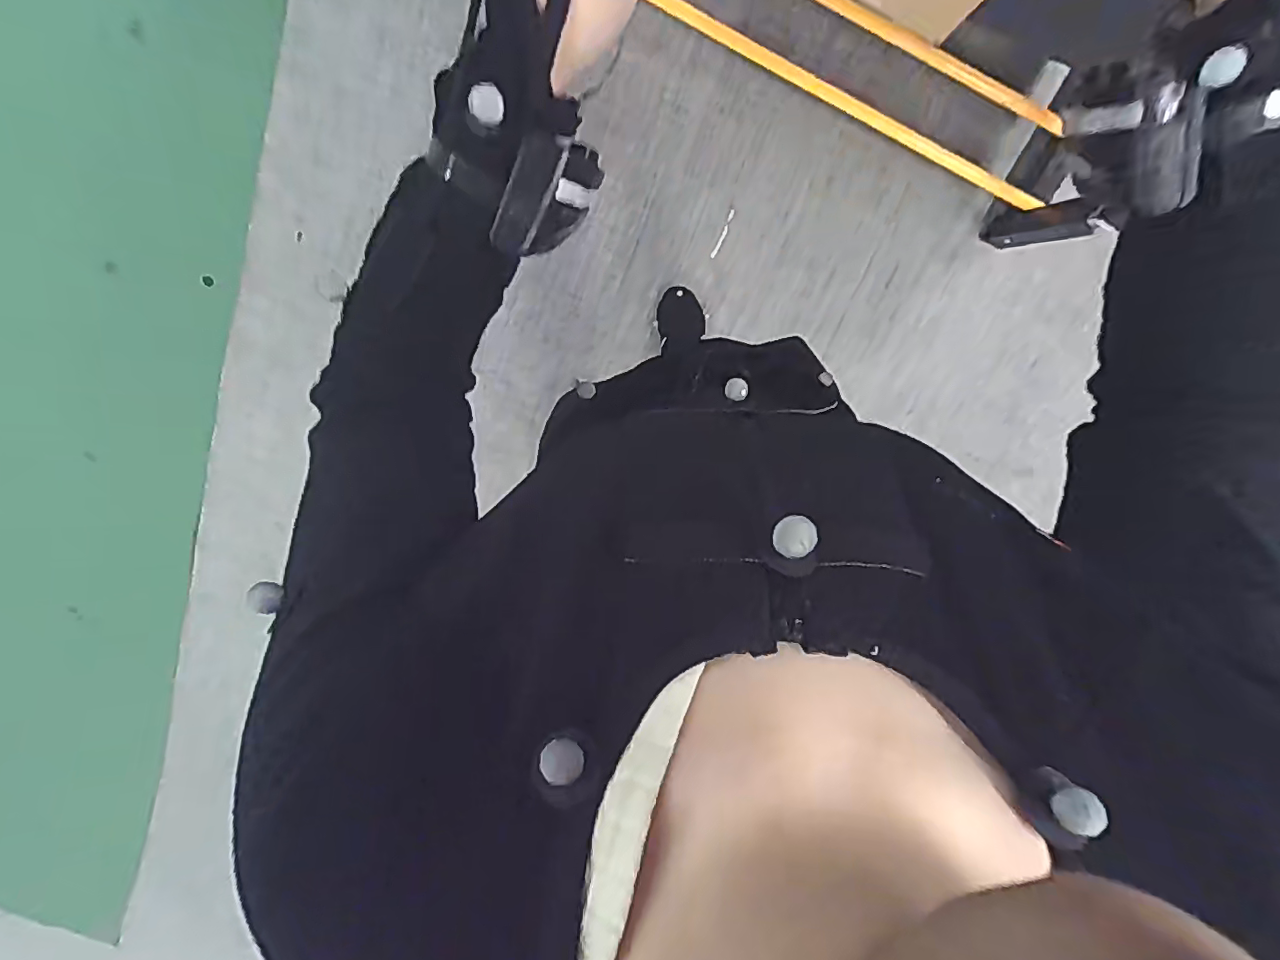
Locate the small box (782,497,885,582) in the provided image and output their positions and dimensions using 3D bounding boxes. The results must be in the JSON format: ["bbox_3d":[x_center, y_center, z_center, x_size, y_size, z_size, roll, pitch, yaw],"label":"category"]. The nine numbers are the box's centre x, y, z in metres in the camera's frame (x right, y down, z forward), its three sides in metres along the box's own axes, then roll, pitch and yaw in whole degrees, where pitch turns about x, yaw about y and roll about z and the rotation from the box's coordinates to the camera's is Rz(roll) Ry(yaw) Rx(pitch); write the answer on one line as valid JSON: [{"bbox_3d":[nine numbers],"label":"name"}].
[{"bbox_3d":[0.478,0.163,1.364,0.168,0.176,0.179,17,107,-5],"label":"small box"}]
